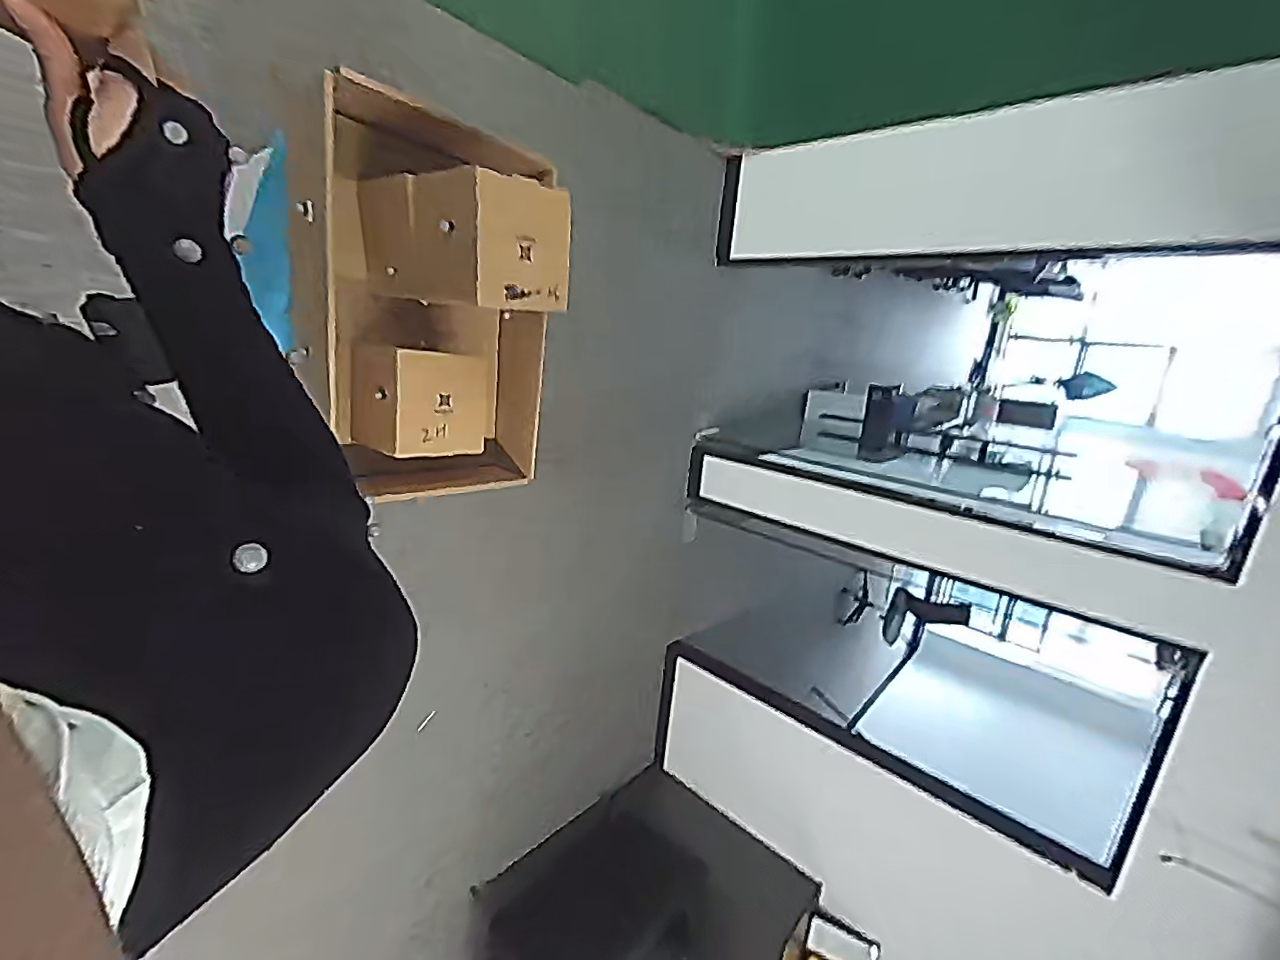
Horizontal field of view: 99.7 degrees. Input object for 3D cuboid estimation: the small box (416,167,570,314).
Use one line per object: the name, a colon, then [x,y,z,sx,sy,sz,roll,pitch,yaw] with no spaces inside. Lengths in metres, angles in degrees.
small box: [-0.225,-0.353,0.825,0.168,0.176,0.179,-15,116,-47]

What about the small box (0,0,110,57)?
small box: [-0.359,-0.360,0.260,0.179,0.176,0.168,16,87,-52]
